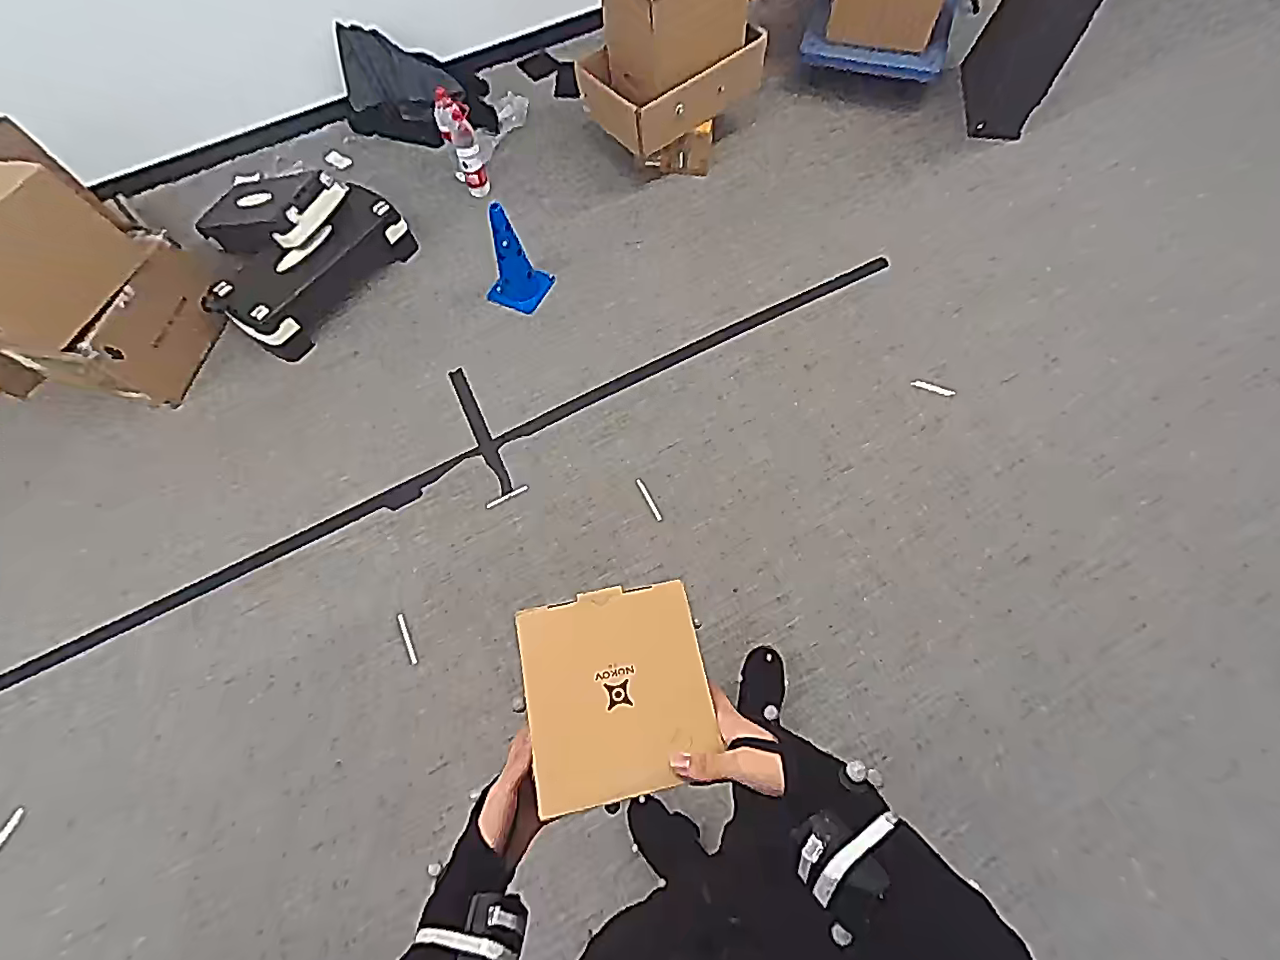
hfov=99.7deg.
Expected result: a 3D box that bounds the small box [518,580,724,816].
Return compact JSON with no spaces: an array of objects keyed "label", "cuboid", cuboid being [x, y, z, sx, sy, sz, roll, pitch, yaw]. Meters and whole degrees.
[{"label":"small box","cuboid":[-0.025,0.221,0.561,0.168,0.176,0.179,-9,65,-8]}]
